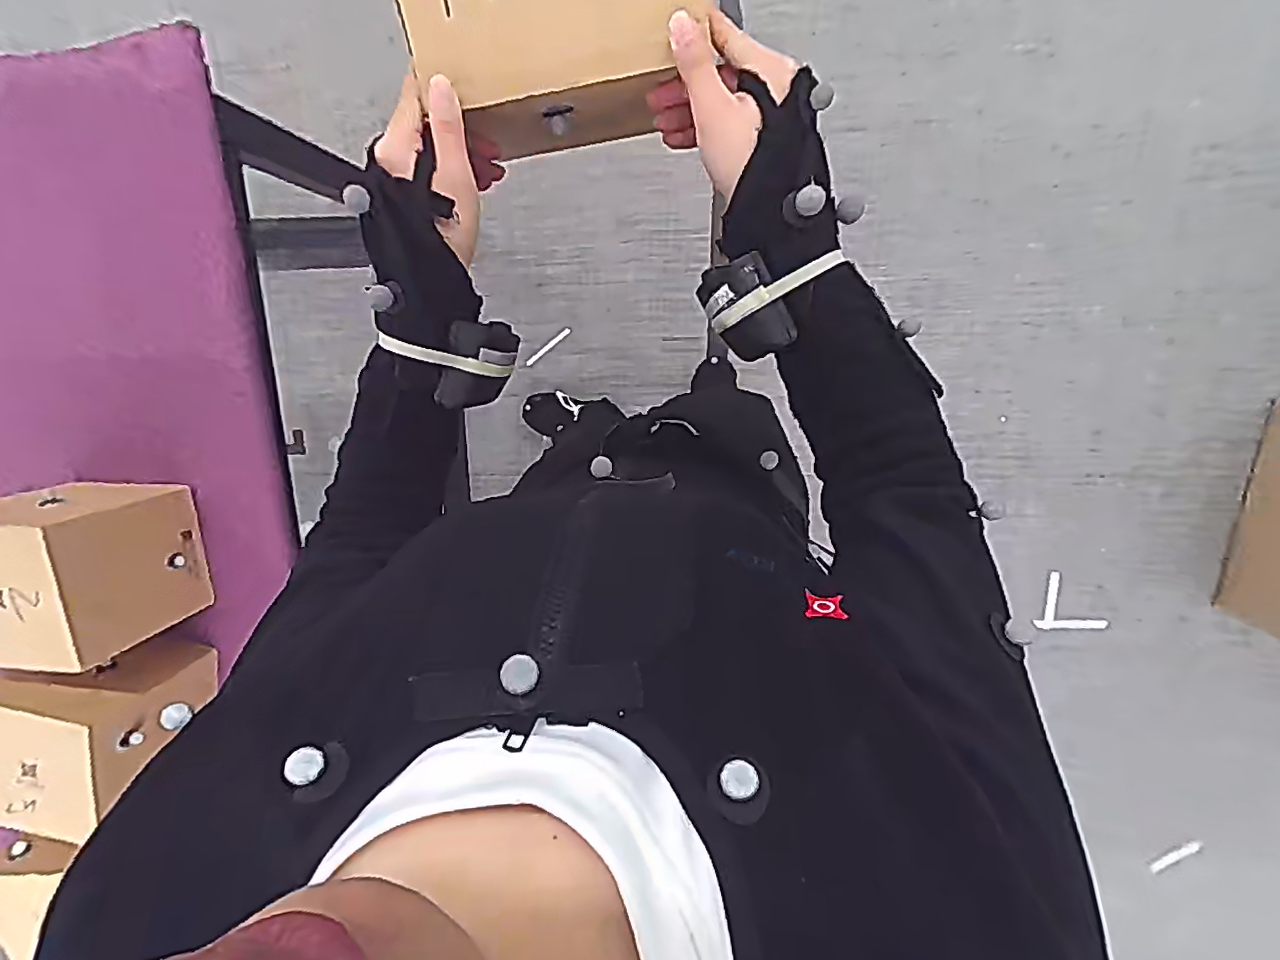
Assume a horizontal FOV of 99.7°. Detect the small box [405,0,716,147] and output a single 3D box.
[{"bbox_3d":[-0.050,-0.341,0.361,0.179,0.176,0.168,-8,112,4],"label":"small box"}]
